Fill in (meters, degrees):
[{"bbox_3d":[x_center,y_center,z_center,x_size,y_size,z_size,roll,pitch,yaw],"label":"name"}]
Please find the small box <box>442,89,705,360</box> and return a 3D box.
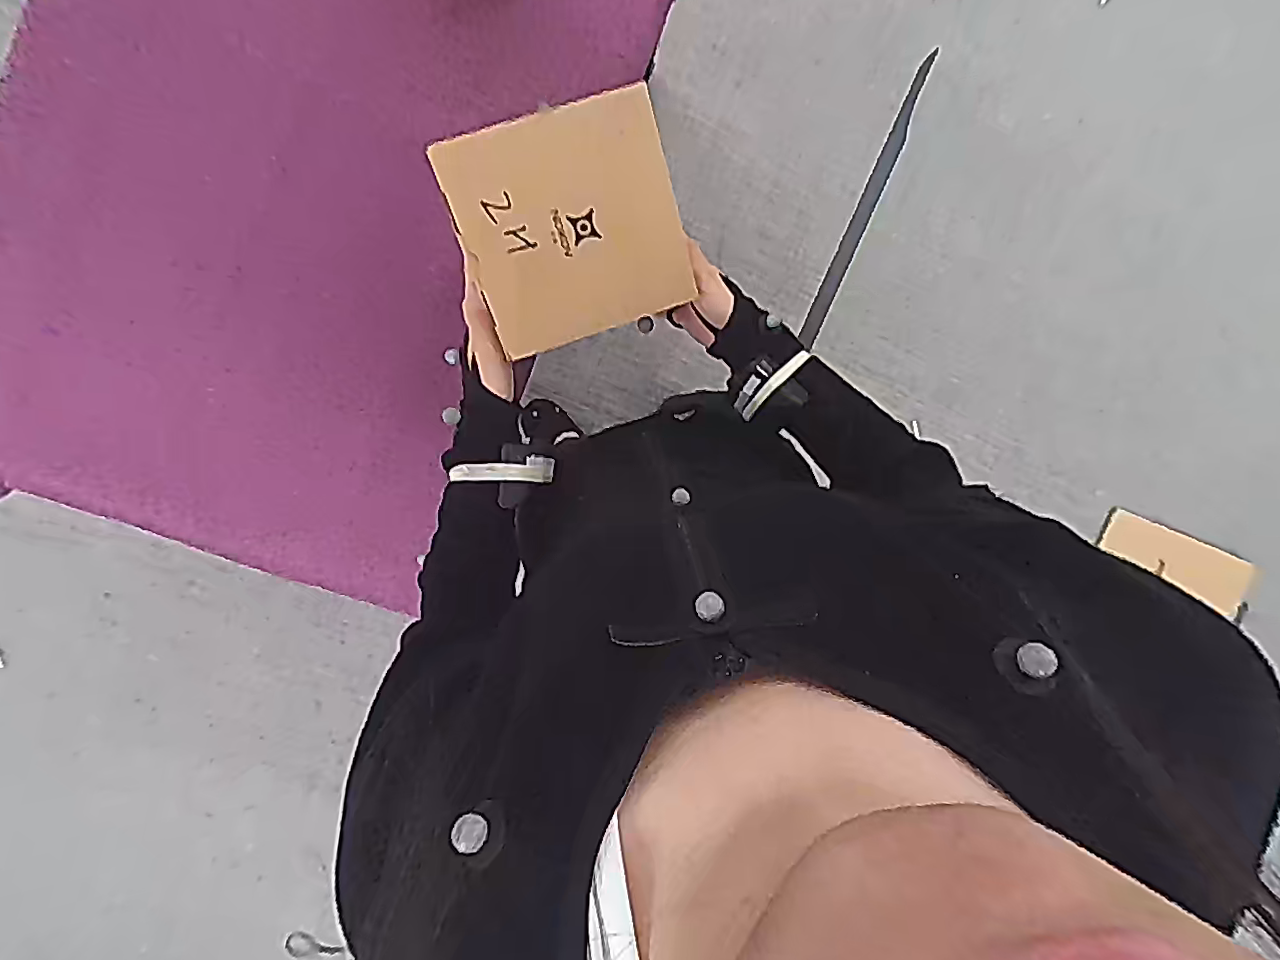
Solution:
[{"bbox_3d":[-0.060,-0.225,0.506,0.179,0.176,0.168,-19,110,-4],"label":"small box"}]
